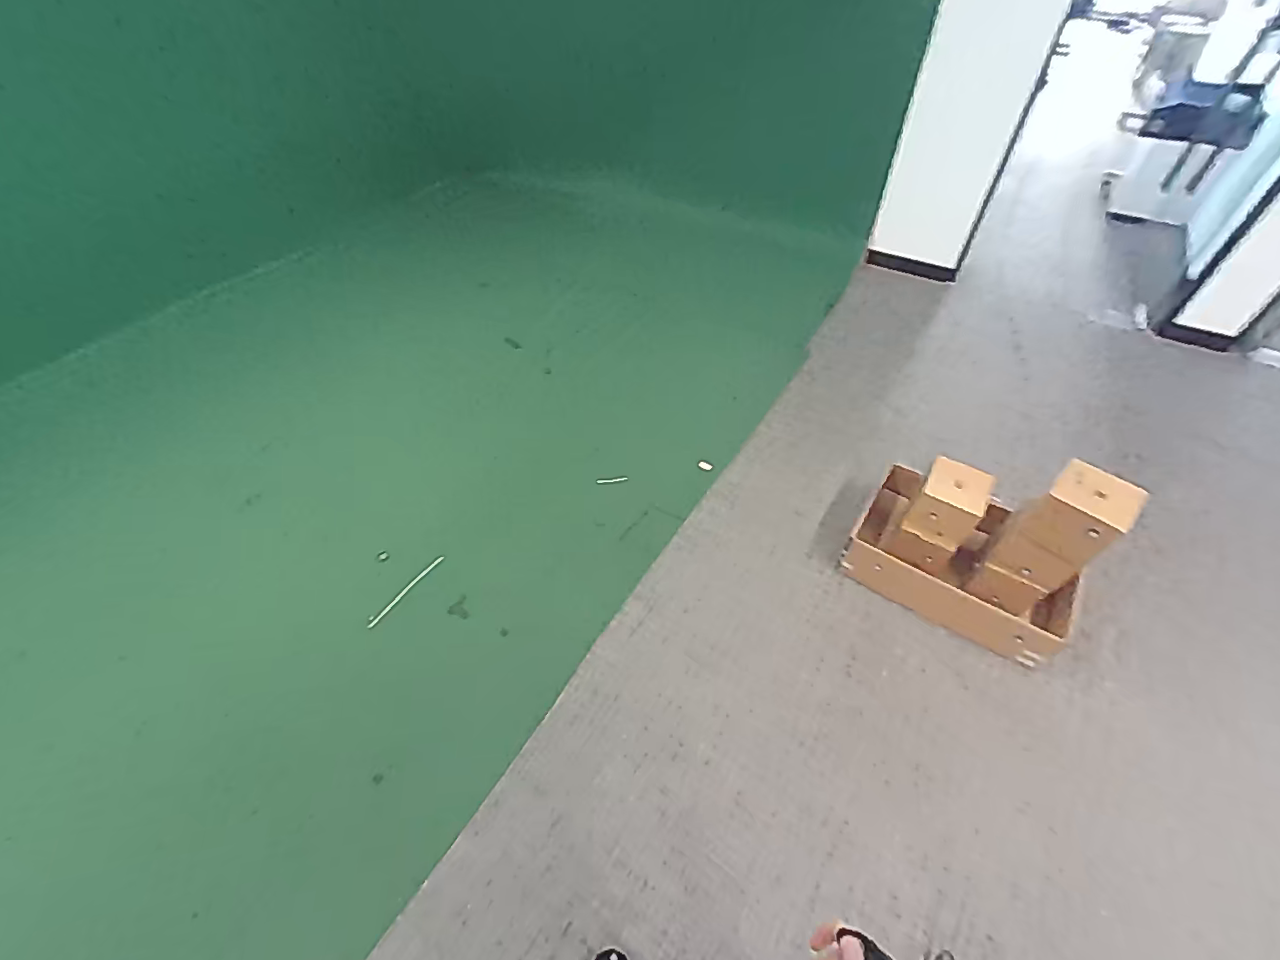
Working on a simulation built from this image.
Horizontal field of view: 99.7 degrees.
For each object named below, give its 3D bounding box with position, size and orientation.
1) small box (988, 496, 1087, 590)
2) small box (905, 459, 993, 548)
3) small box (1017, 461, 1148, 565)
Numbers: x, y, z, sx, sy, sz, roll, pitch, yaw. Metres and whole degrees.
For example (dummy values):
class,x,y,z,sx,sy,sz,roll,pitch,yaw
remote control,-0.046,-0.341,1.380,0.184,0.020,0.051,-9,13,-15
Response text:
class,x,y,z,sx,sy,sz,roll,pitch,yaw
small box,1.128,0.185,1.520,0.179,0.176,0.168,29,58,25
small box,0.923,0.075,1.628,0.168,0.176,0.179,26,55,20
small box,1.122,0.092,1.382,0.168,0.176,0.179,-38,58,-25
